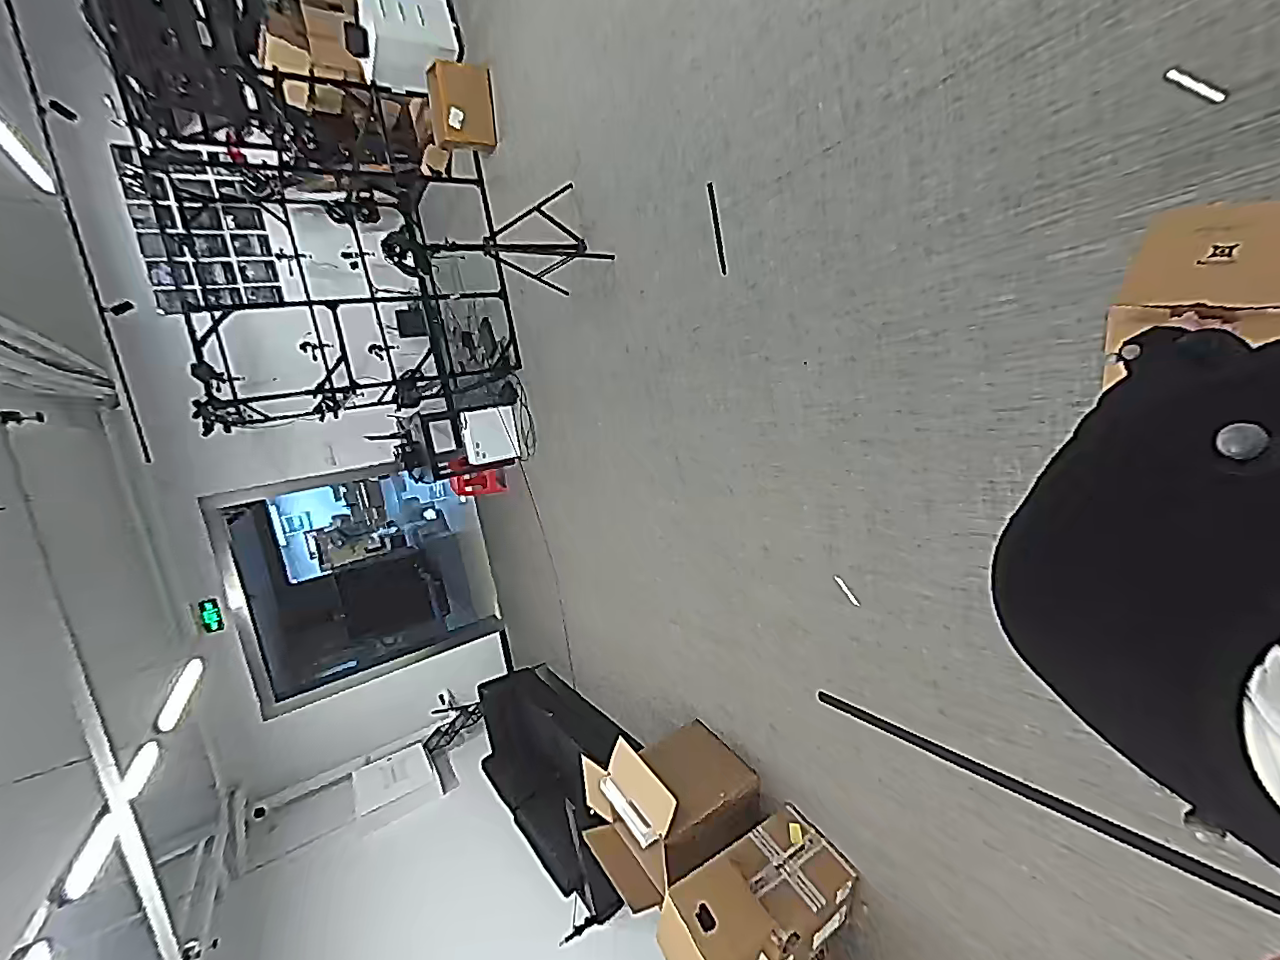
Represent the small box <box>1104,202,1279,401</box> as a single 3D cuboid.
[{"bbox_3d":[0.733,-0.226,0.702,0.168,0.179,0.176,21,162,44],"label":"small box"}]
